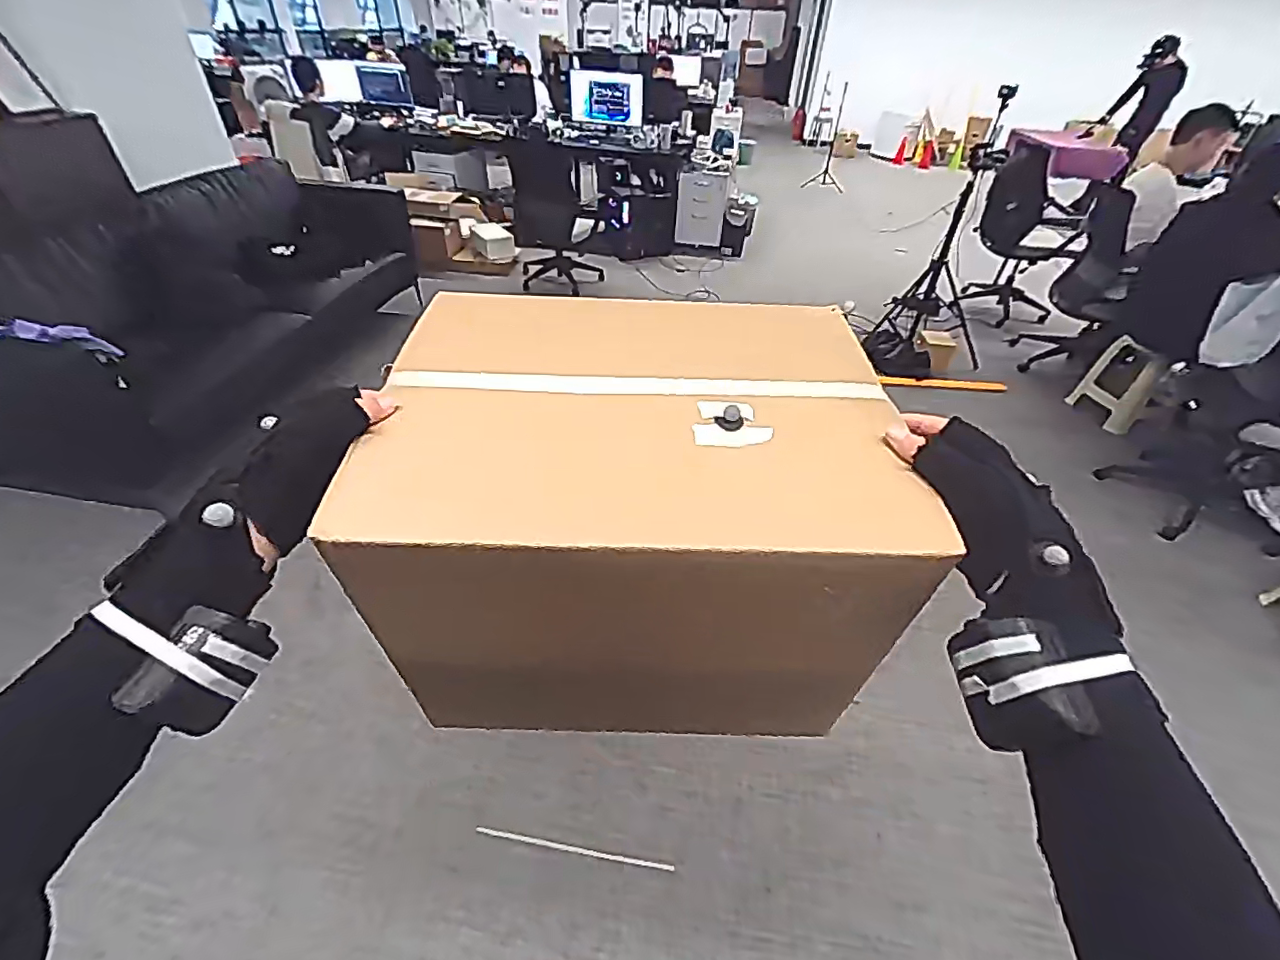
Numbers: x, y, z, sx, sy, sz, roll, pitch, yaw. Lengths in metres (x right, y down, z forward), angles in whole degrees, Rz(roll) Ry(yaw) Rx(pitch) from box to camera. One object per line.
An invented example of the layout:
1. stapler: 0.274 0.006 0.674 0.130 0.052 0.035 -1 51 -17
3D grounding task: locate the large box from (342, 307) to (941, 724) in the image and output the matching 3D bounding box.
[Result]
1. large box: -0.004 0.040 0.561 0.408 0.320 0.320 2 46 -2
